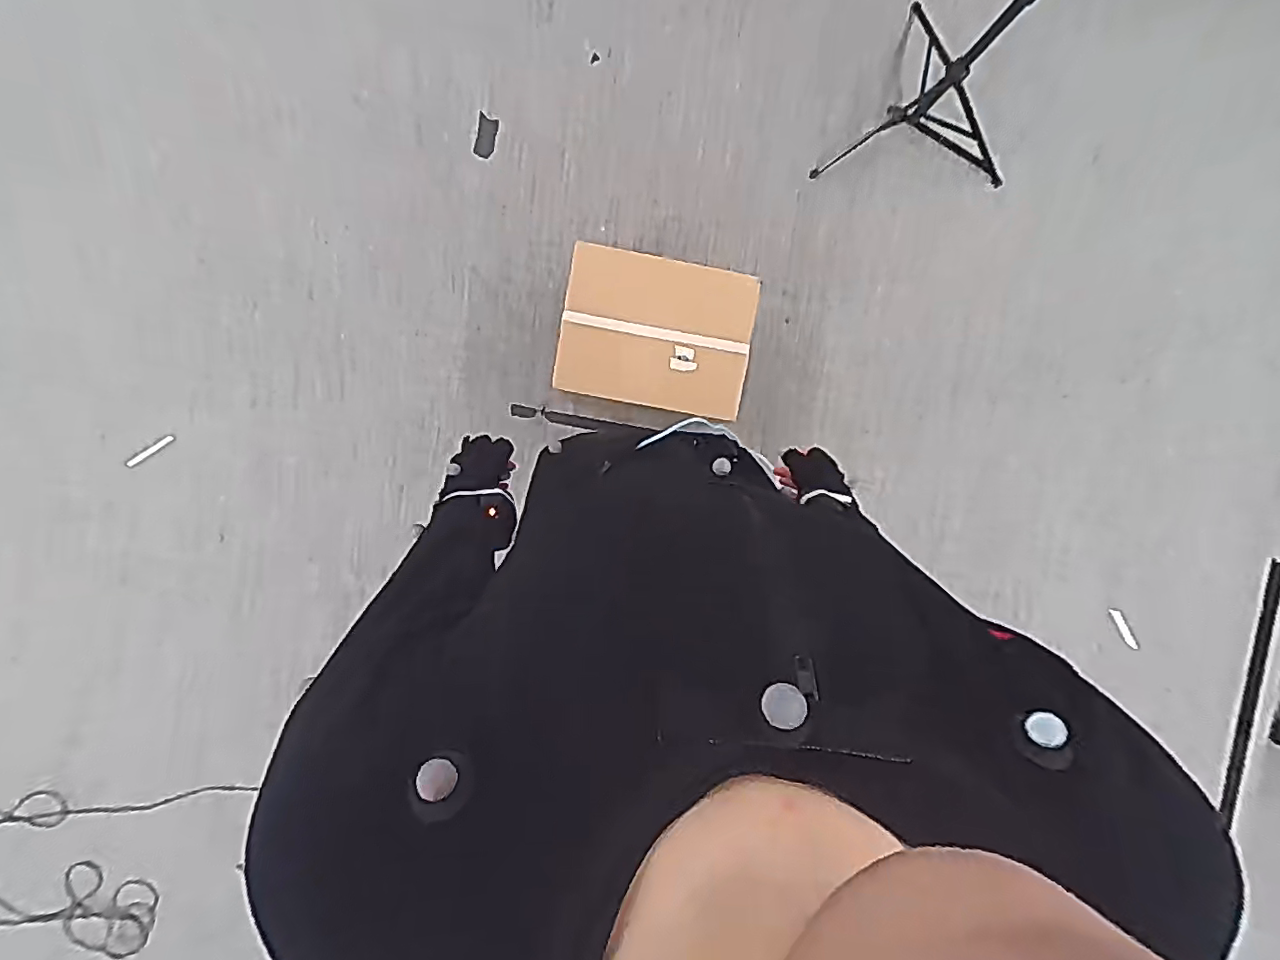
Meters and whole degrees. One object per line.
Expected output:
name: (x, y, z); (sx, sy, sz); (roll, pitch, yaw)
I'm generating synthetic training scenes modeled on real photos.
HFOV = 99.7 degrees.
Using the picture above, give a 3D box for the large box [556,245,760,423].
large box: (0.029, -0.327, 1.309); (0.408, 0.320, 0.320); (10, 94, -4)
